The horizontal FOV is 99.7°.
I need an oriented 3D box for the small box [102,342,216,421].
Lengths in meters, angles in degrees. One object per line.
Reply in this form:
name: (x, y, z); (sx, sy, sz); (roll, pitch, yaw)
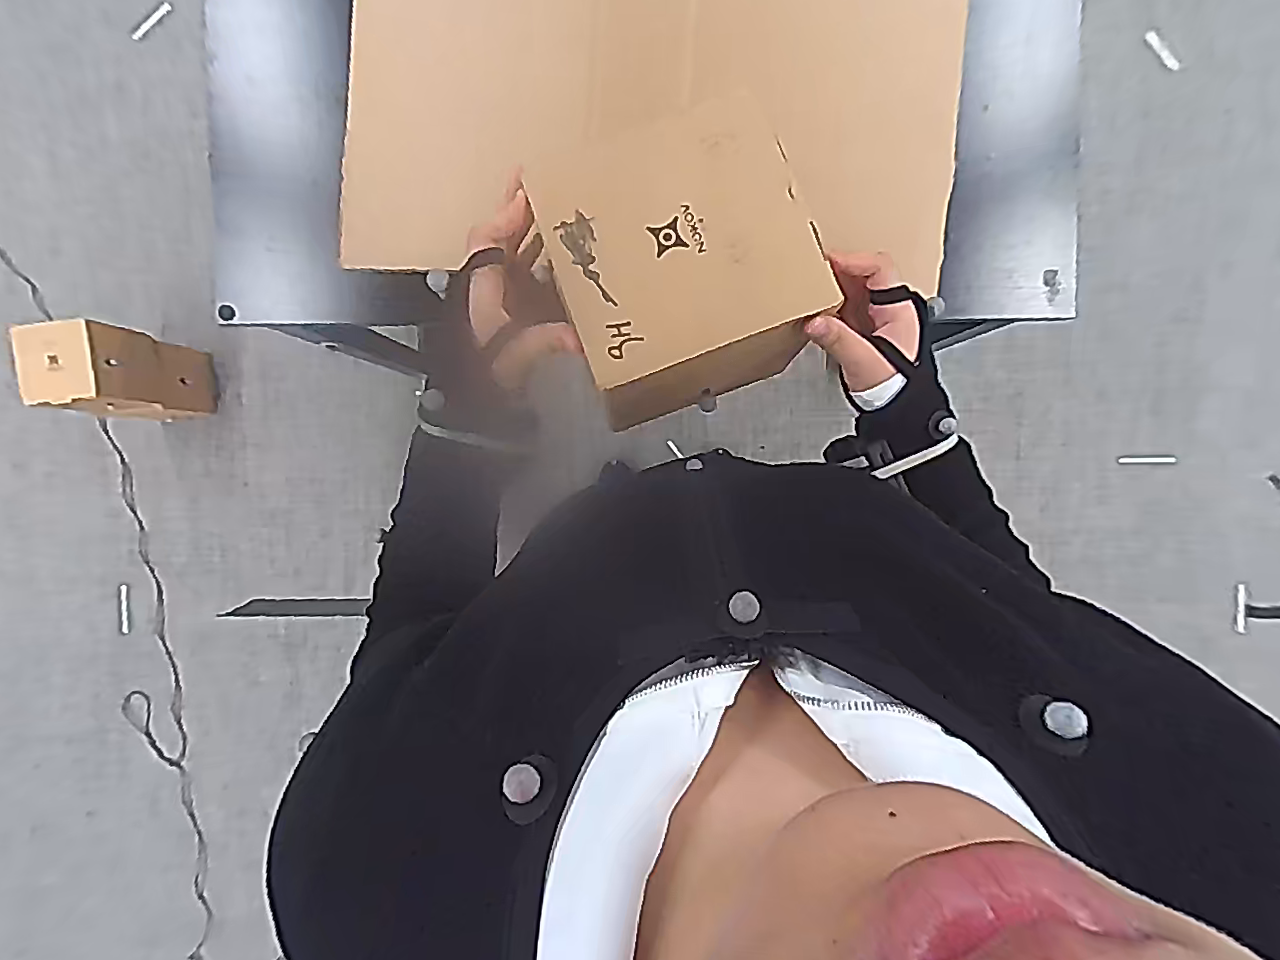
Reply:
small box: (-1.263, -0.254, 1.421); (0.168, 0.176, 0.179); (-5, 93, 1)

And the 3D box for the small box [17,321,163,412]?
small box: (-1.265, -0.255, 1.258); (0.168, 0.176, 0.179); (-7, 91, 0)
